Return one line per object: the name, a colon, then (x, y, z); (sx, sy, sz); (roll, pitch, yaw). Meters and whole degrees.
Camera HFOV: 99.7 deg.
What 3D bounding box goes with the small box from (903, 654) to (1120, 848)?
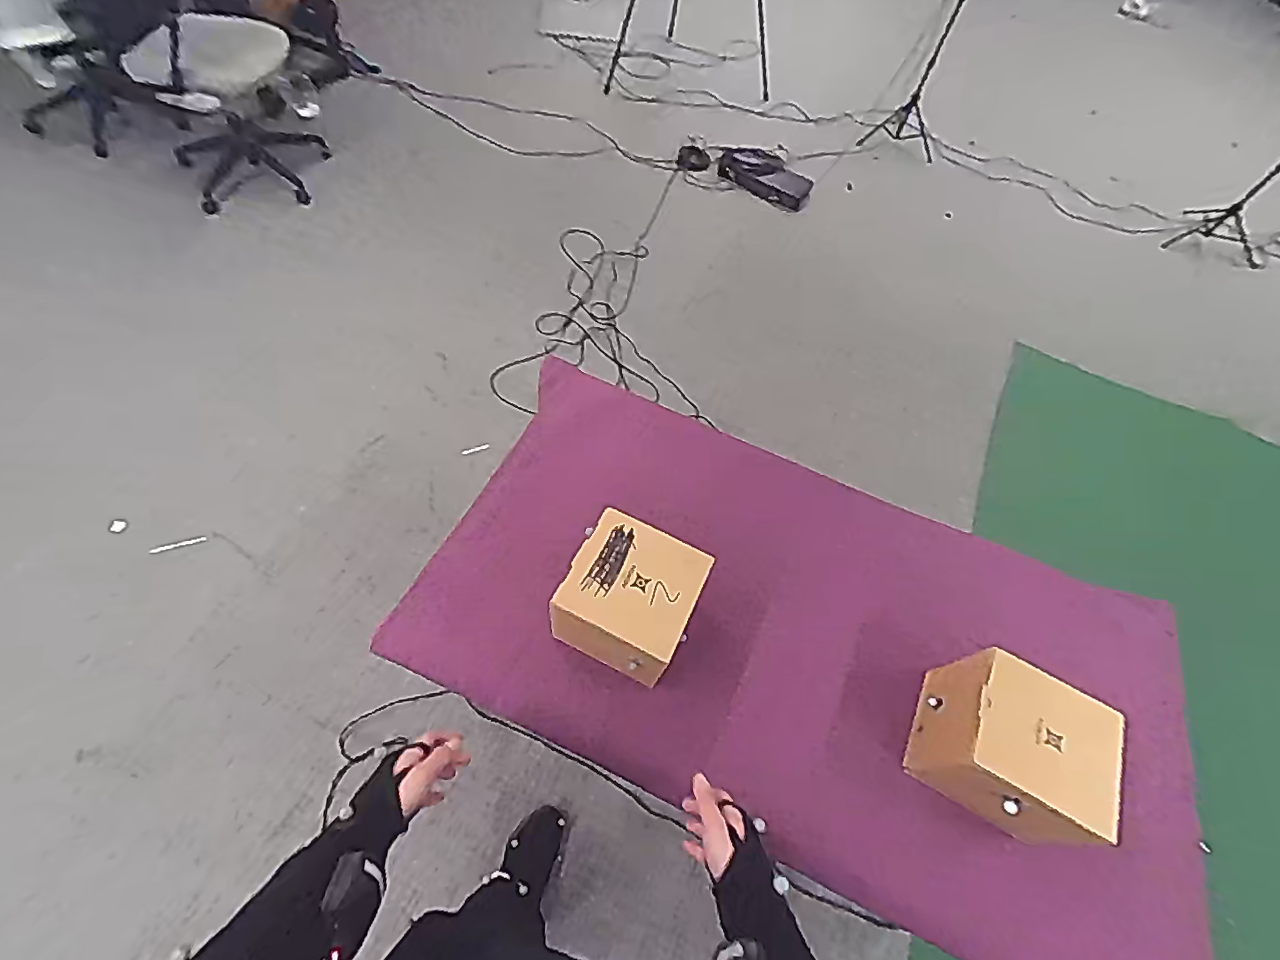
small box: (0.510, 0.375, 0.758); (0.179, 0.176, 0.168); (29, 60, 11)
